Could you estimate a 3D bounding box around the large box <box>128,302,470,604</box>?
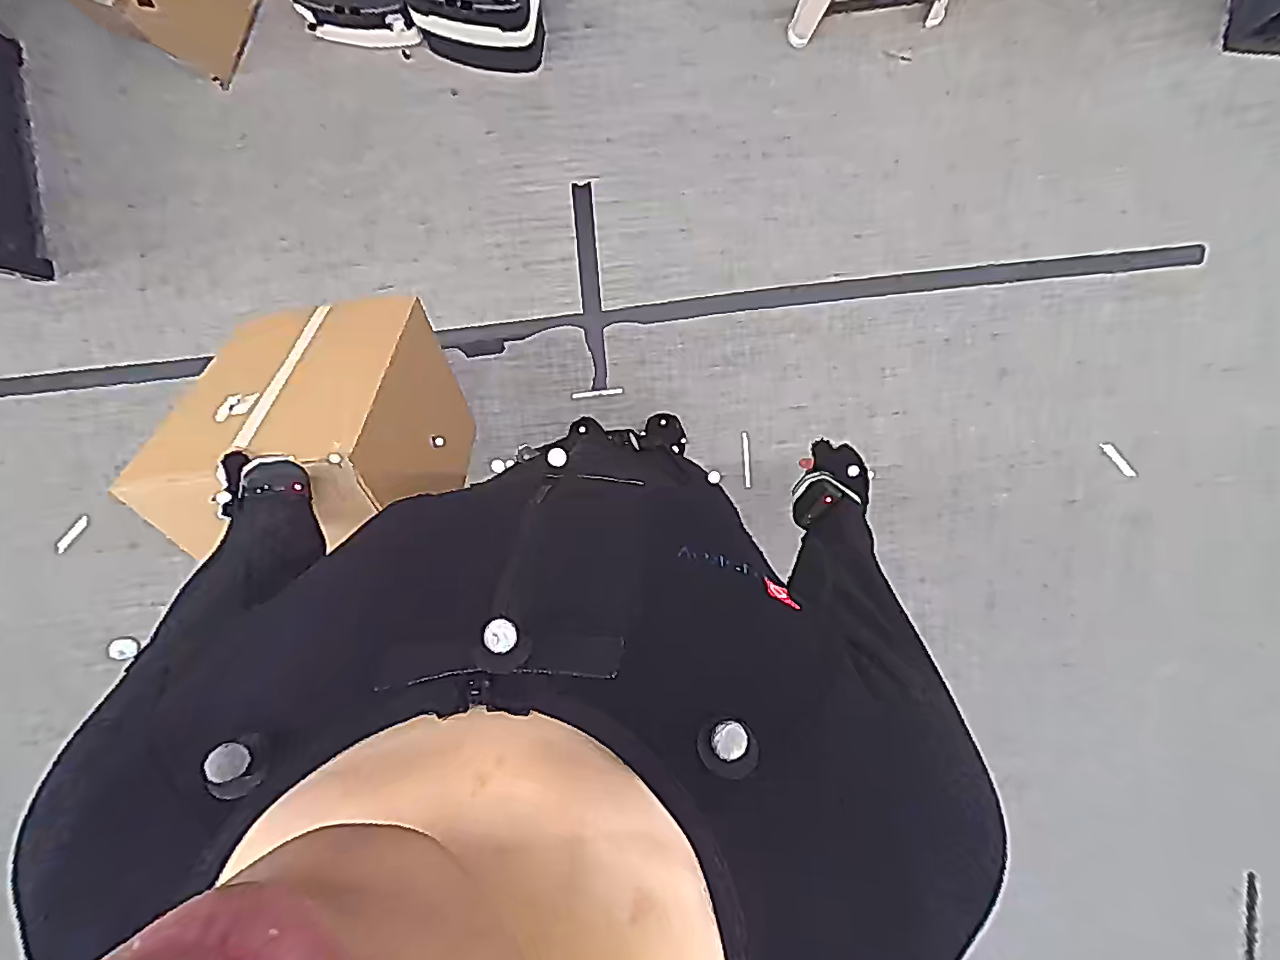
[{"bbox_3d":[-0.511,-0.051,0.931,0.320,0.408,0.320,-8,138,2],"label":"large box"}]
